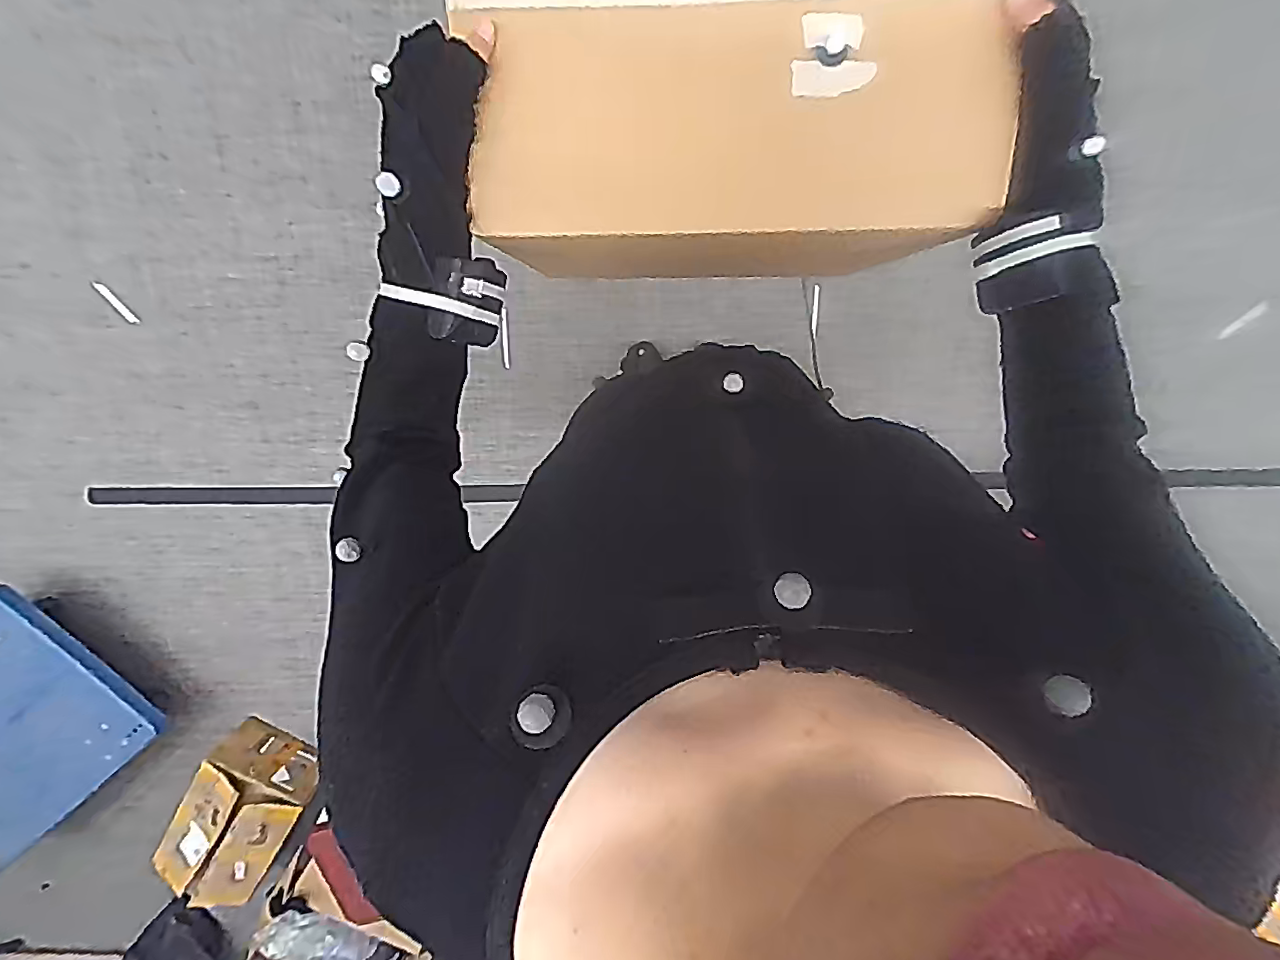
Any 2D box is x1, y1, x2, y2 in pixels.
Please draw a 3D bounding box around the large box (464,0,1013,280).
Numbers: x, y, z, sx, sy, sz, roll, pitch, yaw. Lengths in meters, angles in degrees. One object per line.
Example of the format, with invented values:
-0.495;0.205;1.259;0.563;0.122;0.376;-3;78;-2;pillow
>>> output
0.070;-0.384;0.533;0.408;0.320;0.320;-1;104;1;large box
